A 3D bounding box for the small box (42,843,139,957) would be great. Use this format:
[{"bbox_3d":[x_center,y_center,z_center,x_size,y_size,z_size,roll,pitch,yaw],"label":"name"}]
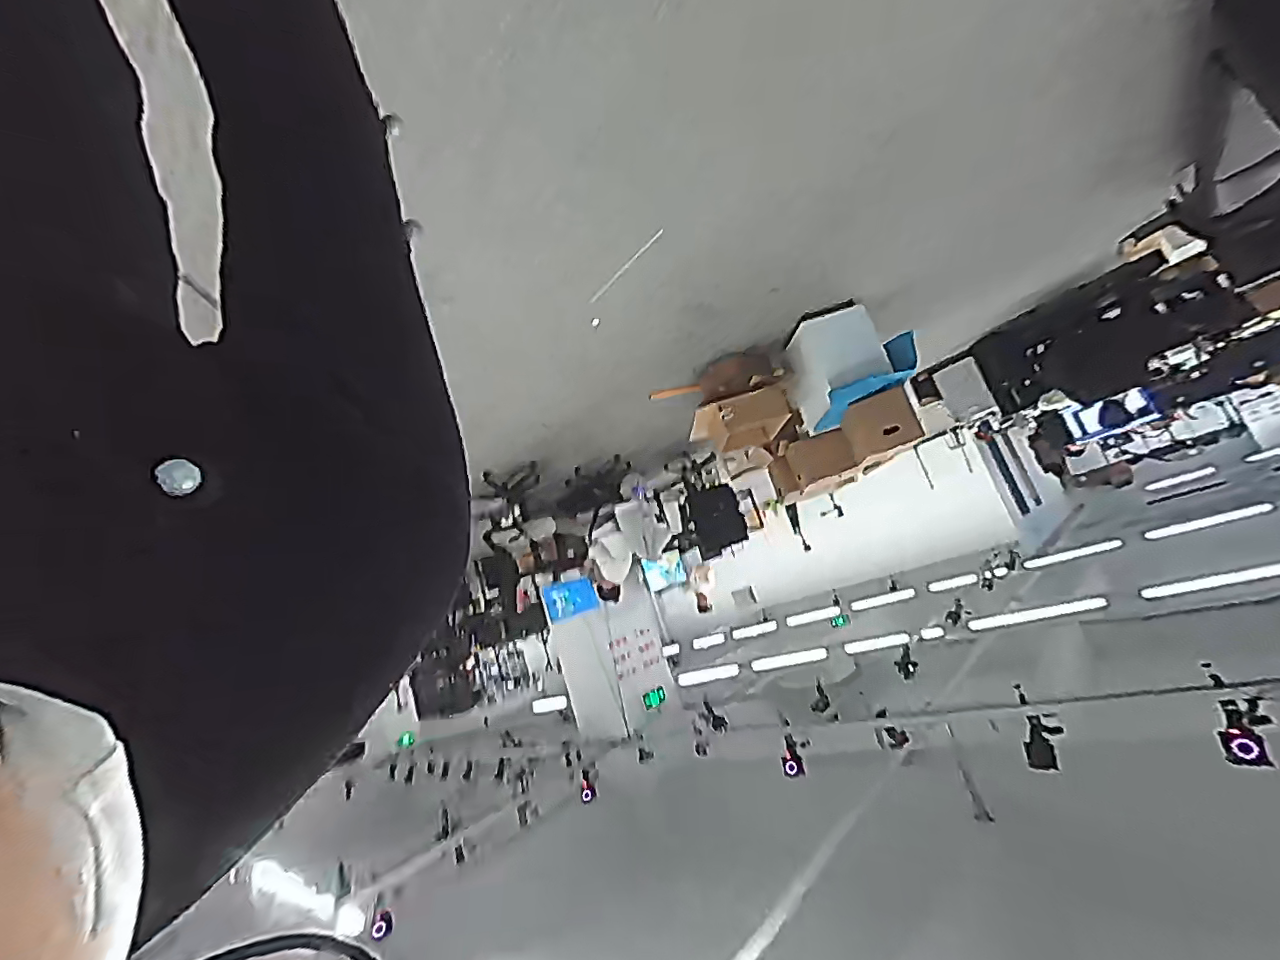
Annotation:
[{"bbox_3d":[-1.469,1.112,1.449,0.168,0.176,0.179,-7,166,-45],"label":"small box"}]
